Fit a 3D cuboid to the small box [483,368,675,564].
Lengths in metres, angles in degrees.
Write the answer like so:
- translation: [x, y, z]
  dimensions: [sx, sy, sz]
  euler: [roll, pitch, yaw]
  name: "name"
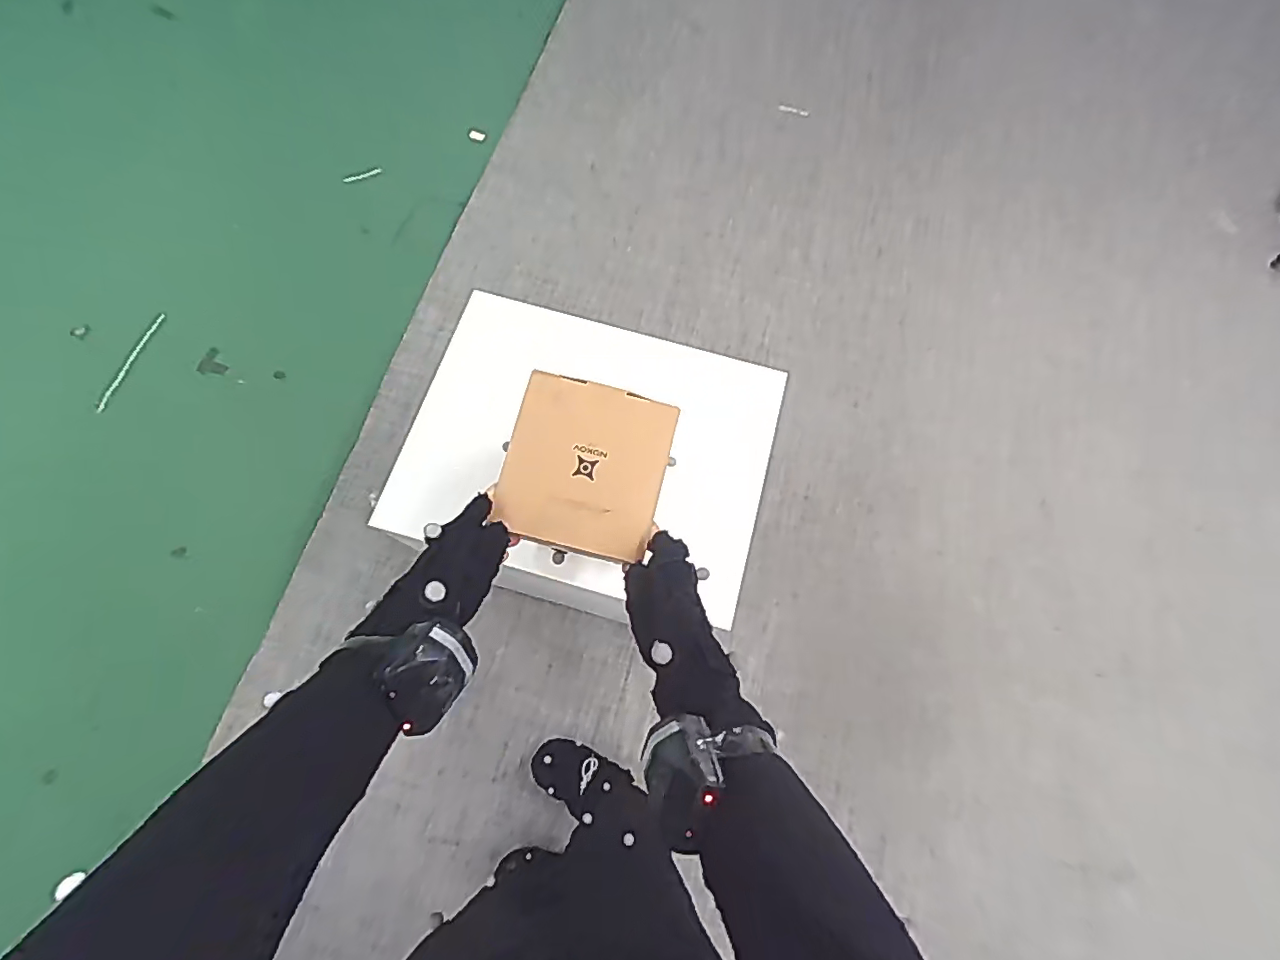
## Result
- translation: [-0.065, -0.005, 0.636]
  dimensions: [0.168, 0.176, 0.179]
  euler: [13, 81, -1]
  name: "small box"
